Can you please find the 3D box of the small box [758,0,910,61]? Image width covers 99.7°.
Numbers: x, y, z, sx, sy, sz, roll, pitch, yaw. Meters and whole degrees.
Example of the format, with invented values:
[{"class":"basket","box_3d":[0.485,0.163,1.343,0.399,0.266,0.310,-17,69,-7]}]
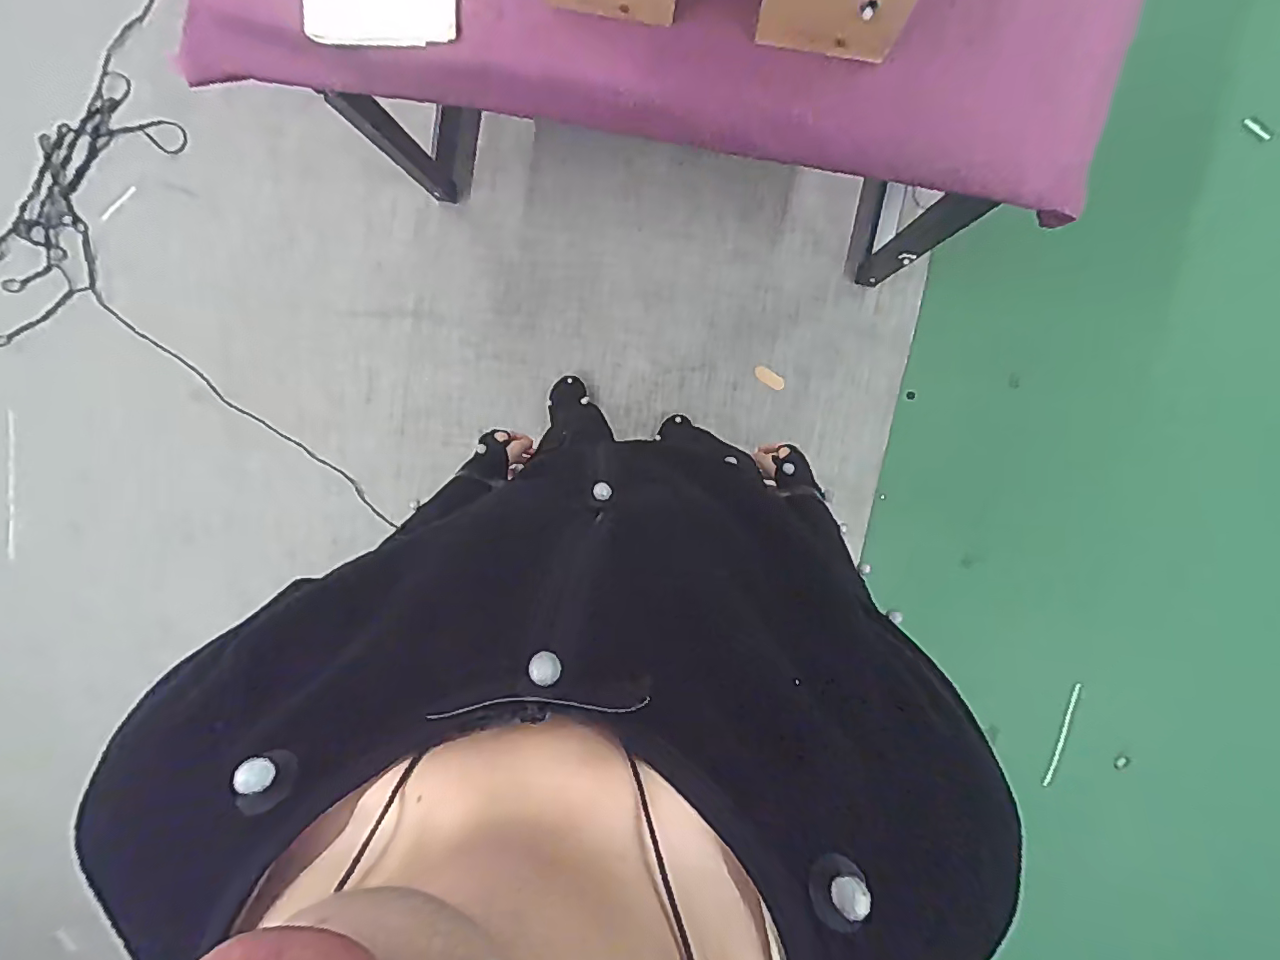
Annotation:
[{"class":"small box","box_3d":[0.237,-0.621,0.605,0.168,0.176,0.179,12,96,1]}]
